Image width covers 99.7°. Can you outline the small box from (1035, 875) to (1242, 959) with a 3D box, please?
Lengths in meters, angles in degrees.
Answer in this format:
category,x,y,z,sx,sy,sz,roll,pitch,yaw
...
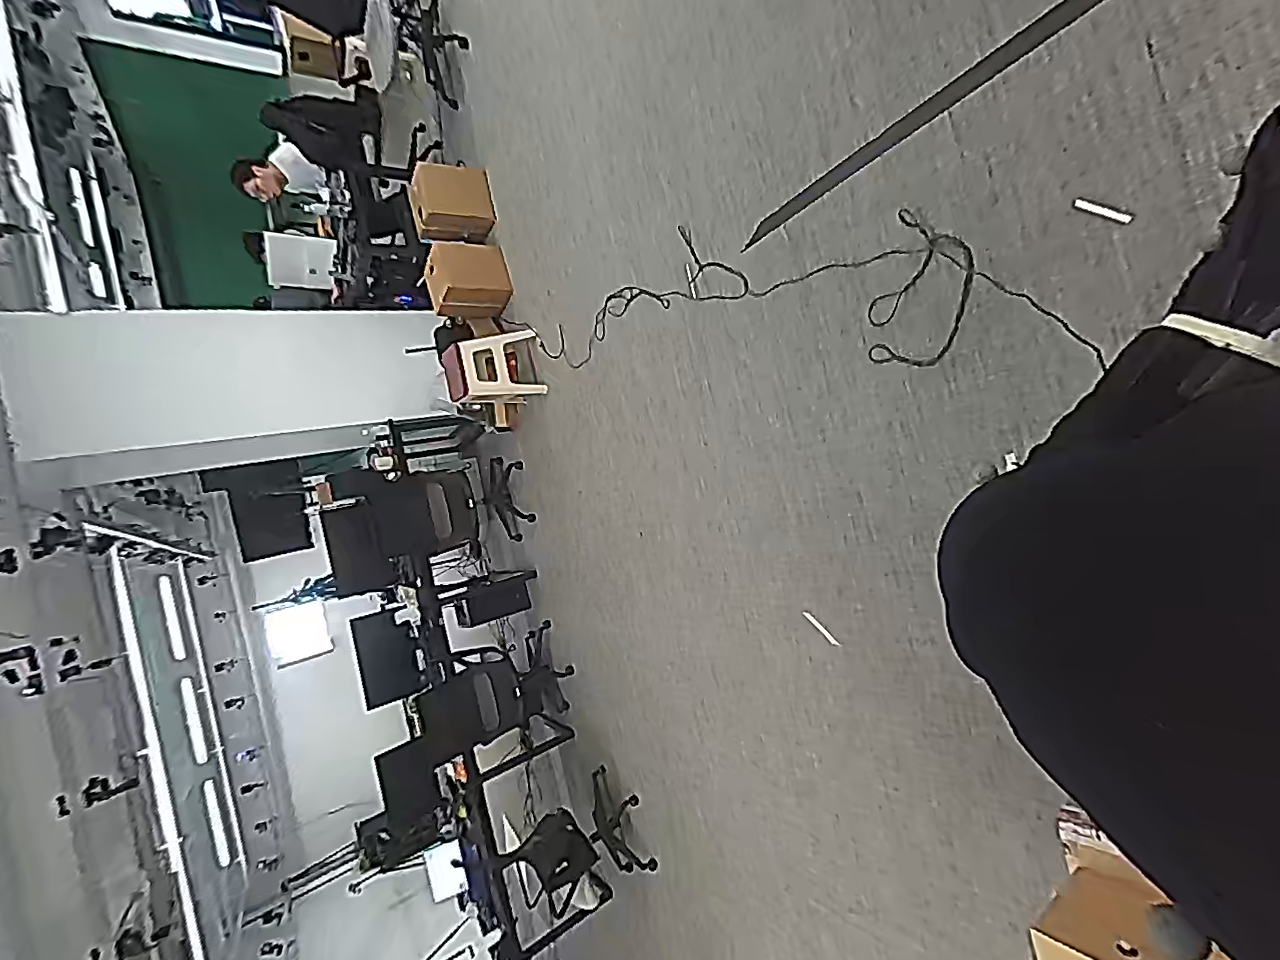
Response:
category,x,y,z,sx,sy,sz,roll,pitch,yaw
small box,0.690,0.690,0.735,0.179,0.176,0.168,-17,83,59
